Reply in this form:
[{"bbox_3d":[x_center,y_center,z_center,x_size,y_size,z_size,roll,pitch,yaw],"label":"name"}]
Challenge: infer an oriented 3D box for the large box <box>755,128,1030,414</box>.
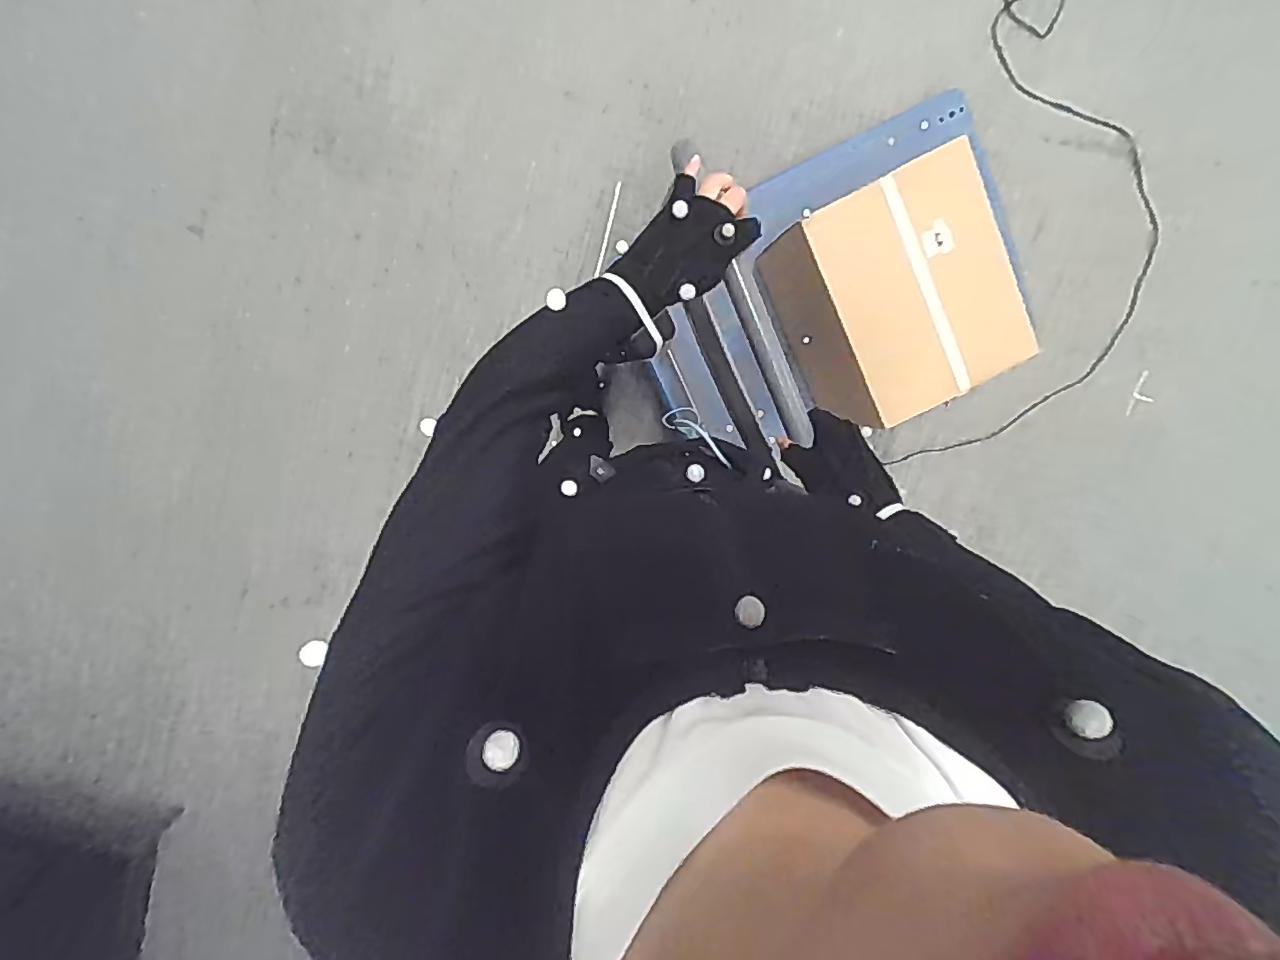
[{"bbox_3d":[0.481,-0.383,1.101,0.320,0.320,0.408,-26,100,2],"label":"large box"}]
